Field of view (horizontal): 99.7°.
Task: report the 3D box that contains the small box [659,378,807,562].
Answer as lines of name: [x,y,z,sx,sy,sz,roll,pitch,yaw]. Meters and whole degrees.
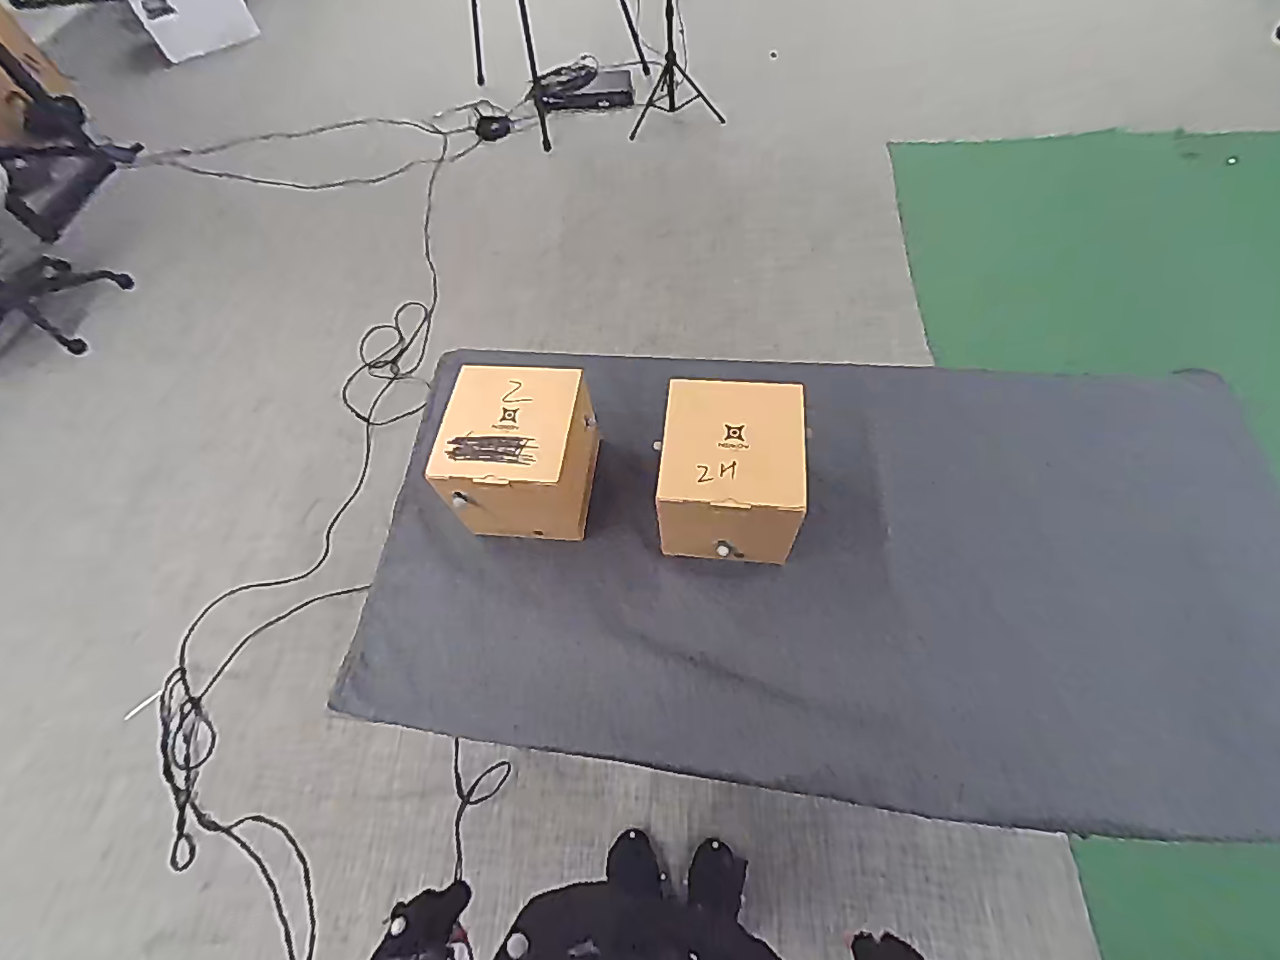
small box: [0.118,-0.009,0.706,0.168,0.176,0.179,4,62,8]
